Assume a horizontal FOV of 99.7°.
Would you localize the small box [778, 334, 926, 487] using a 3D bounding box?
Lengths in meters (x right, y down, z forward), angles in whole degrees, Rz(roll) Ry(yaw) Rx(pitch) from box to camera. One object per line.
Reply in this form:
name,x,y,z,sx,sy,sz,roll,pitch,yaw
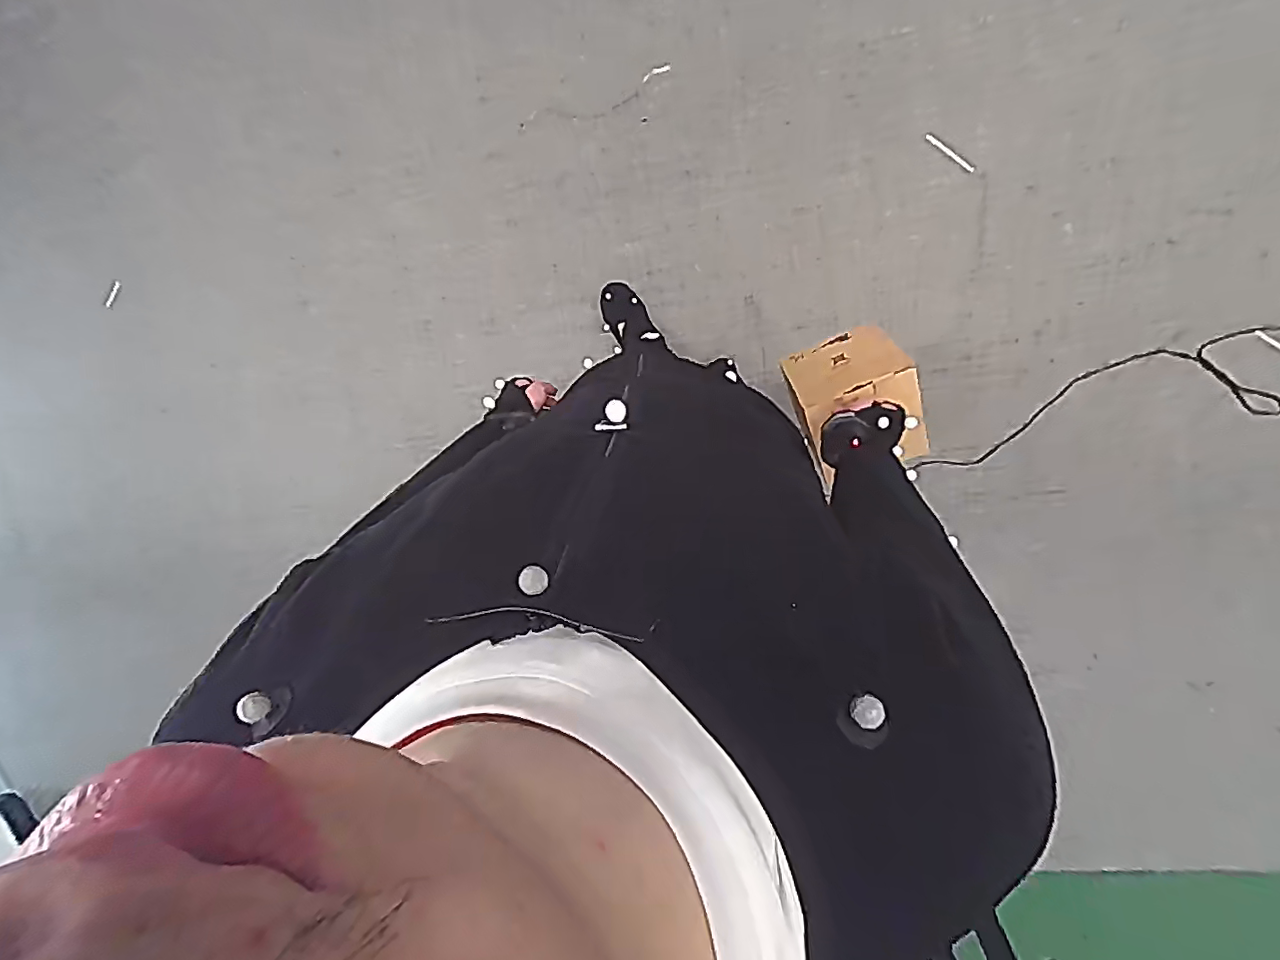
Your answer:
small box,0.352,-0.108,0.903,0.168,0.179,0.176,-23,123,14
